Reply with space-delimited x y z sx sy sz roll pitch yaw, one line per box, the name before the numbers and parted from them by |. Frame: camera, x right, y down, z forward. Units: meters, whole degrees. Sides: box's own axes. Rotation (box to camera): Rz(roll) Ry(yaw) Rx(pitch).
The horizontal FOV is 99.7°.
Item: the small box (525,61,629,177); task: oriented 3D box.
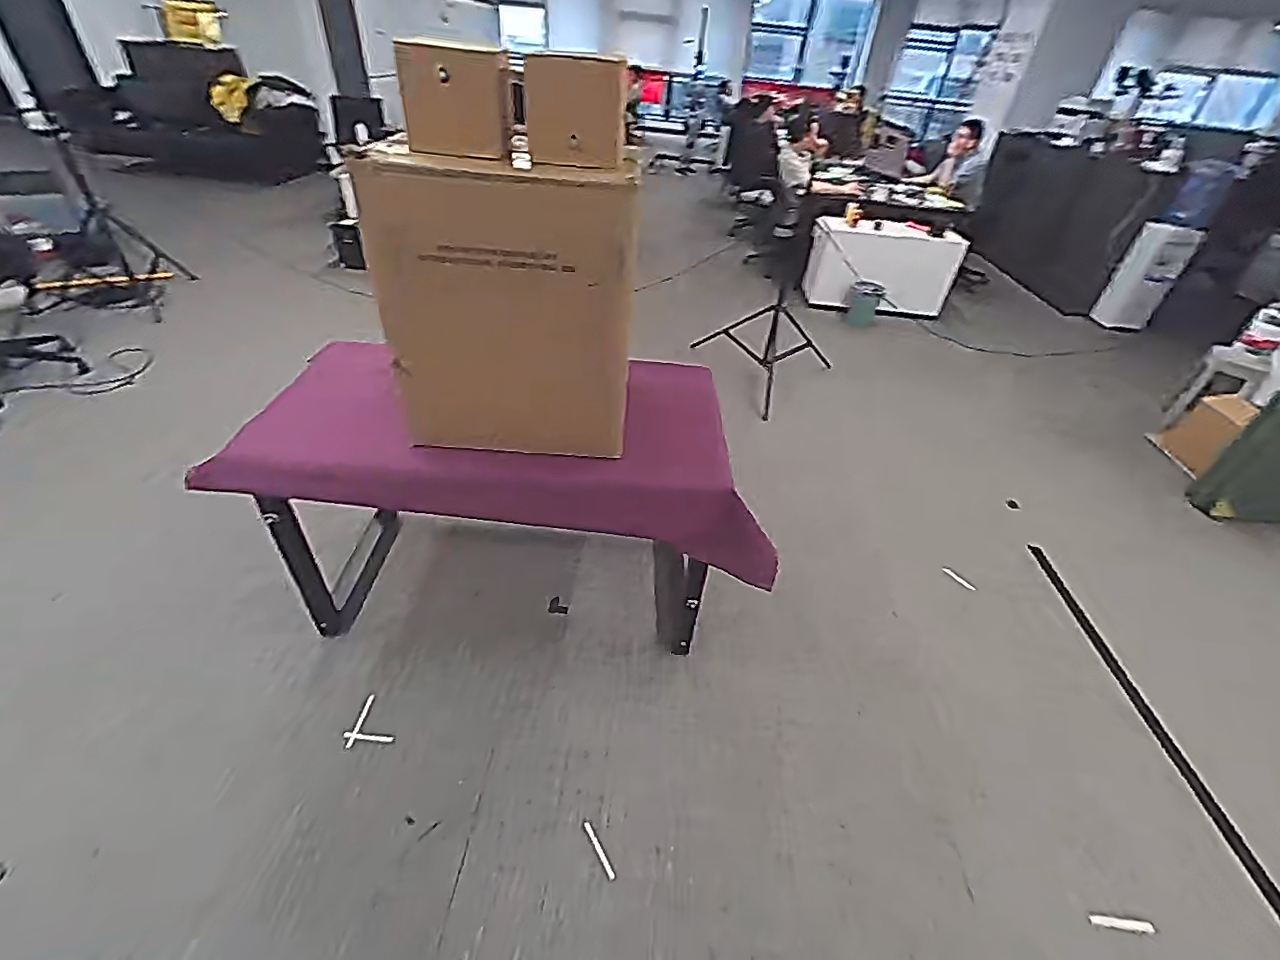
small box | -0.118 -0.703 1.056 0.179 0.176 0.168 4 39 -1
